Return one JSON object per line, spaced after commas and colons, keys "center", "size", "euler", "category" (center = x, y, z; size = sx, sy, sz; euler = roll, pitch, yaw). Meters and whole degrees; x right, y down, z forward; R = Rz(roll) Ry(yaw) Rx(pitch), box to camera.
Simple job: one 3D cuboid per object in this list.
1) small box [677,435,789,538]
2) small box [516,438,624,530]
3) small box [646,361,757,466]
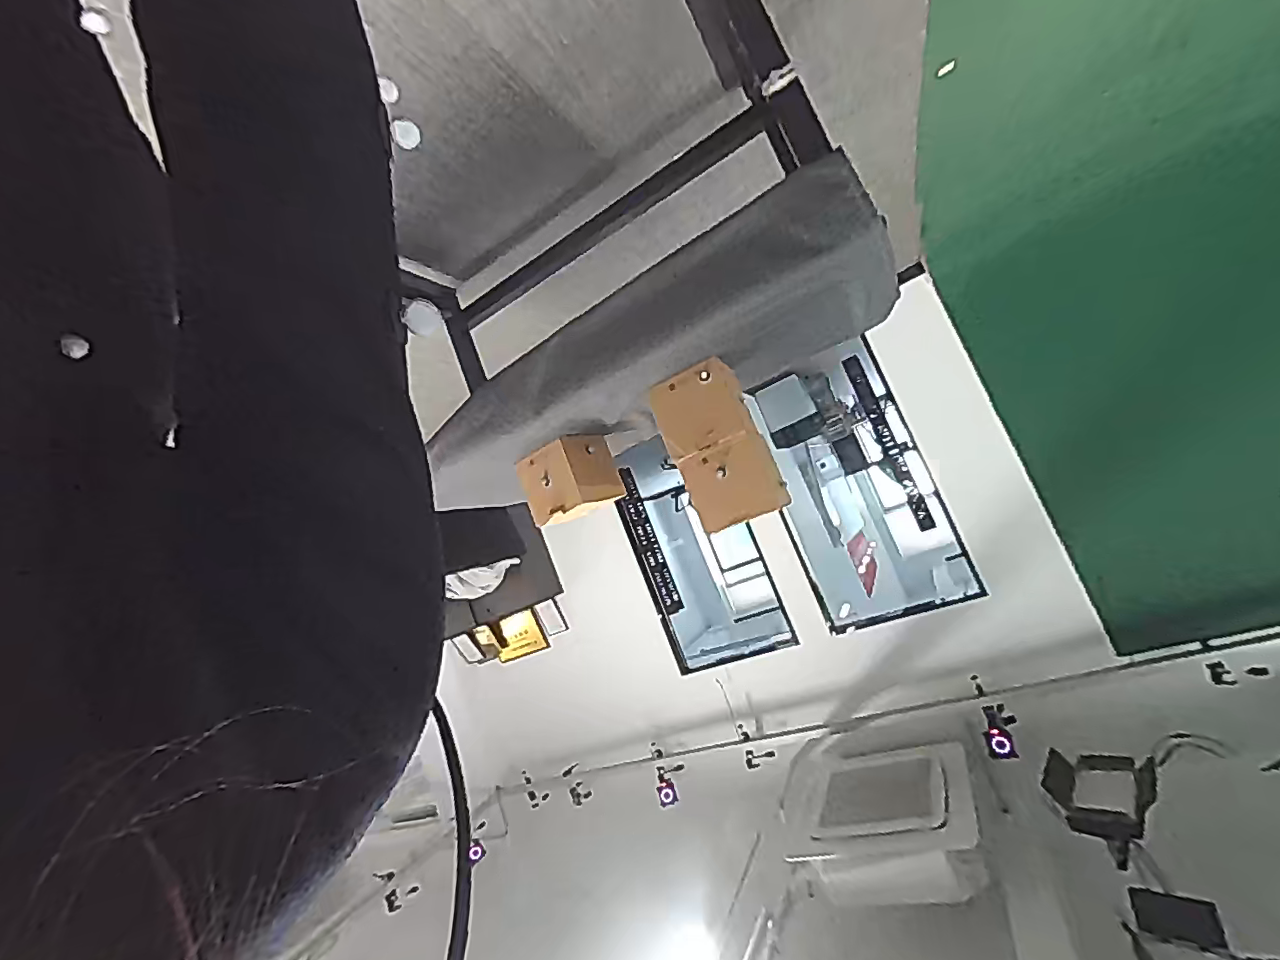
{"center": [0.203, 0.010, 1.167], "size": [0.168, 0.176, 0.179], "euler": [-25, 172, 22], "category": "small box"}
{"center": [-0.174, 0.005, 1.328], "size": [0.168, 0.176, 0.179], "euler": [-27, 171, 32], "category": "small box"}
{"center": [0.133, -0.141, 1.174], "size": [0.168, 0.176, 0.179], "euler": [-24, 173, 20], "category": "small box"}
